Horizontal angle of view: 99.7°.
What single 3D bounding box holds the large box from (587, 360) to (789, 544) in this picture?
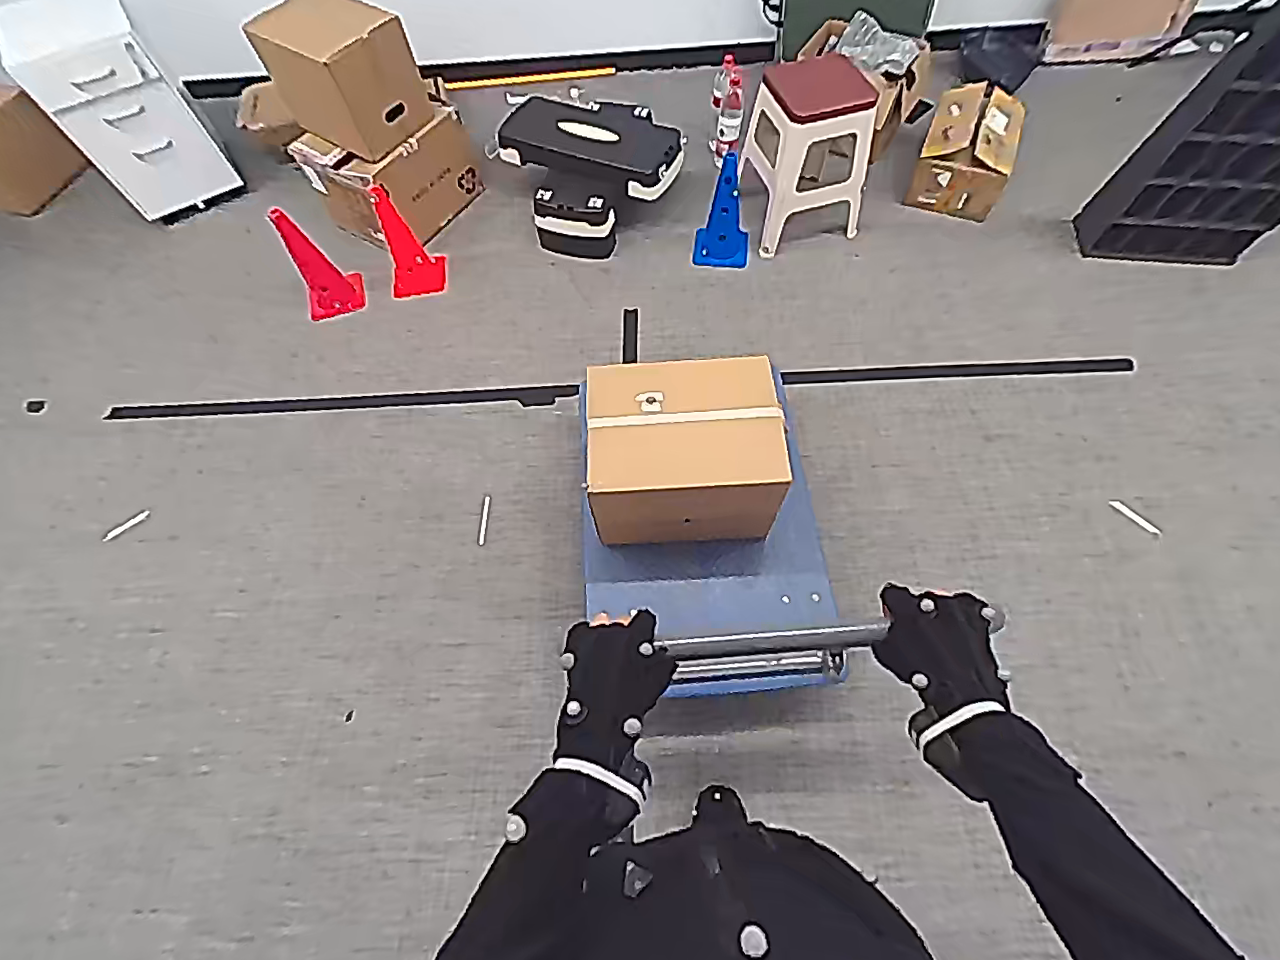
[{"bbox_3d":[0.097,-0.050,1.262,0.408,0.320,0.320,-3,63,2],"label":"large box"}]
